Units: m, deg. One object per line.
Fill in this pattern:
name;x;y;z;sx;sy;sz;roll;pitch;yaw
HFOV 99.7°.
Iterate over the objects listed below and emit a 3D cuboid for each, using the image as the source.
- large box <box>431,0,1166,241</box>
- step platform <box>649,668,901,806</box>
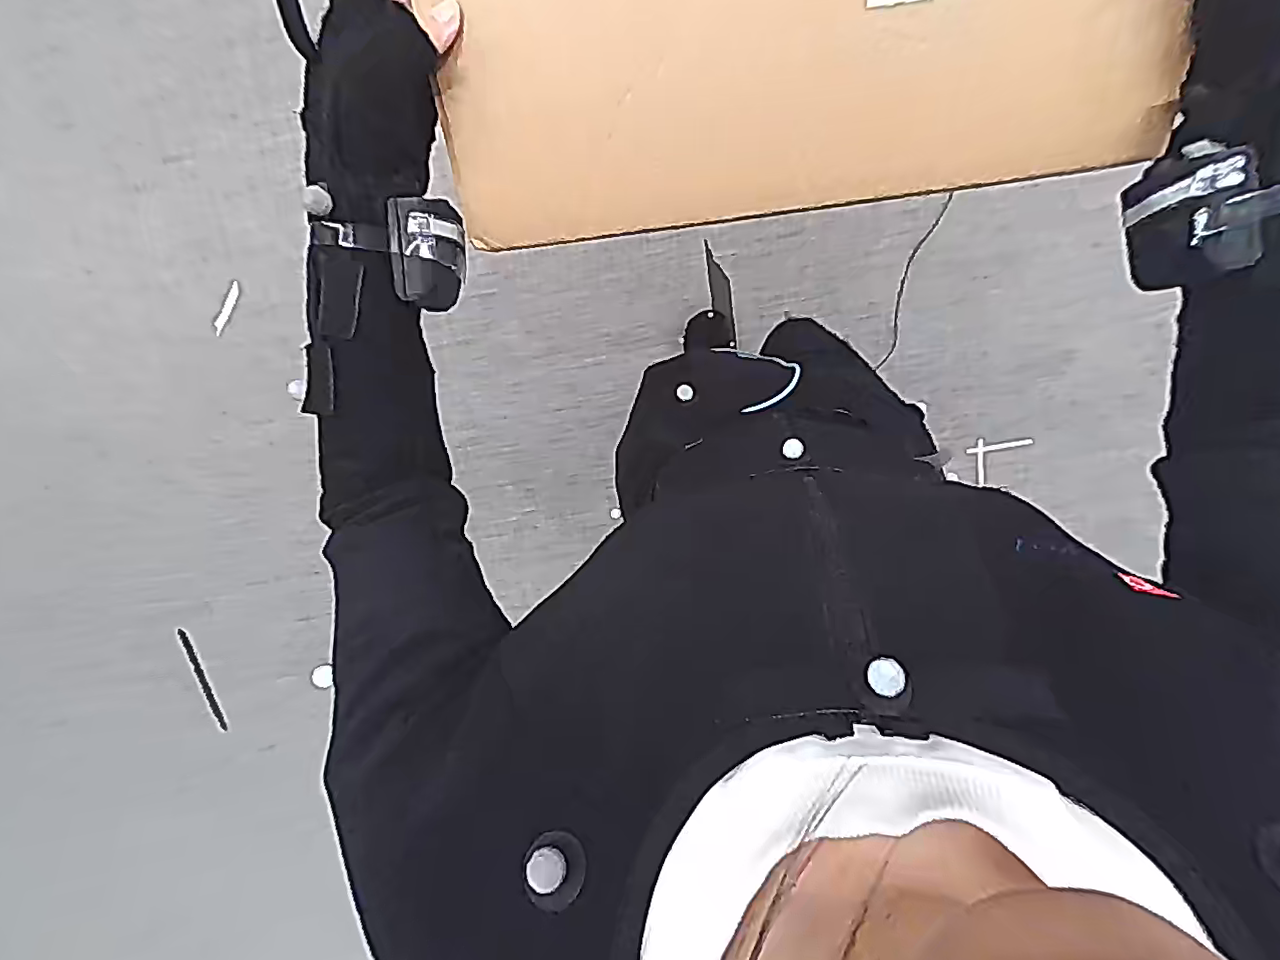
large box;0.082;-0.381;0.409;0.408;0.320;0.320;-5;116;8
step platform;0.369;0.741;1.549;0.684;0.204;0.286;-8;104;10
